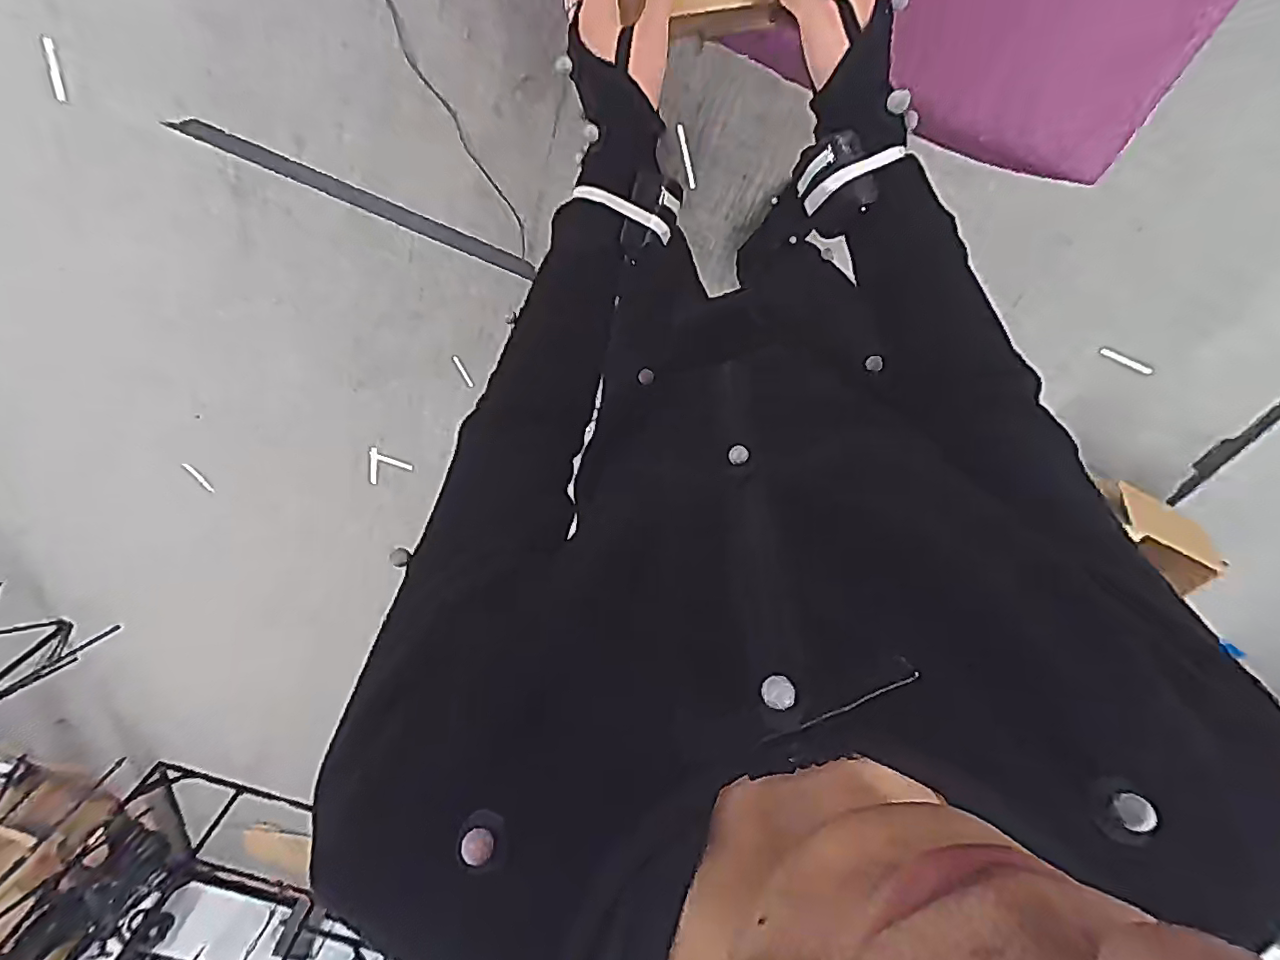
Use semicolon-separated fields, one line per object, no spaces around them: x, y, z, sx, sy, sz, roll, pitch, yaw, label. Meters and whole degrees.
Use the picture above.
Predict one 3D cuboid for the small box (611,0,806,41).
0.052;-0.490;0.444;0.168;0.176;0.179;-7;124;1;small box
